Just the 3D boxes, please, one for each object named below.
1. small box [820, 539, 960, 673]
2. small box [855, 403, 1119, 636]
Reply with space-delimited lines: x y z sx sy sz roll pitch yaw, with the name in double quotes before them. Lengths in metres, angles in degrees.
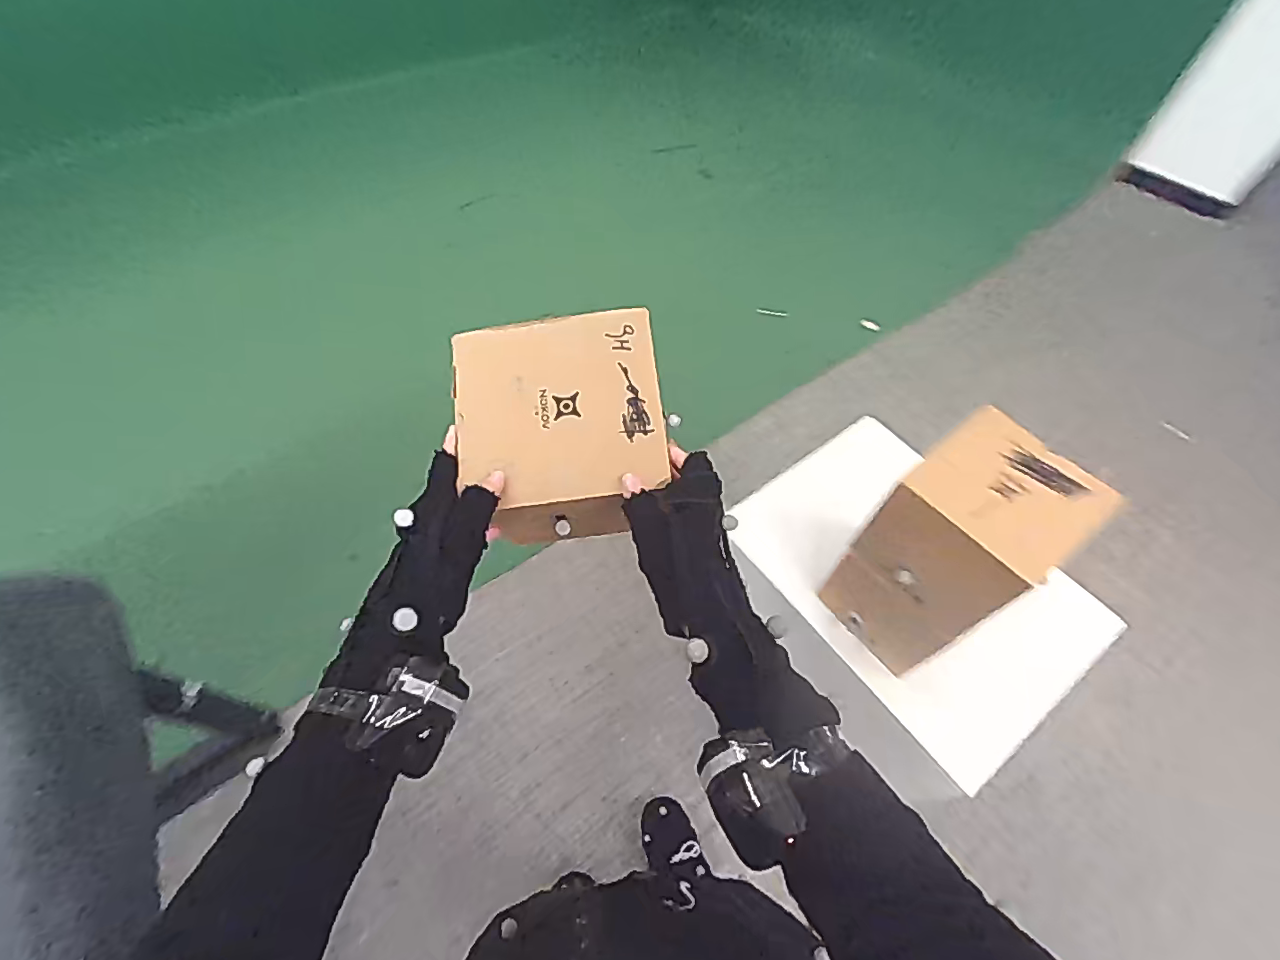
"small box" 0.387 0.142 0.771 0.179 0.176 0.168 -35 62 -19
"small box" 0.387 0.049 0.636 0.179 0.176 0.168 -35 63 -23
